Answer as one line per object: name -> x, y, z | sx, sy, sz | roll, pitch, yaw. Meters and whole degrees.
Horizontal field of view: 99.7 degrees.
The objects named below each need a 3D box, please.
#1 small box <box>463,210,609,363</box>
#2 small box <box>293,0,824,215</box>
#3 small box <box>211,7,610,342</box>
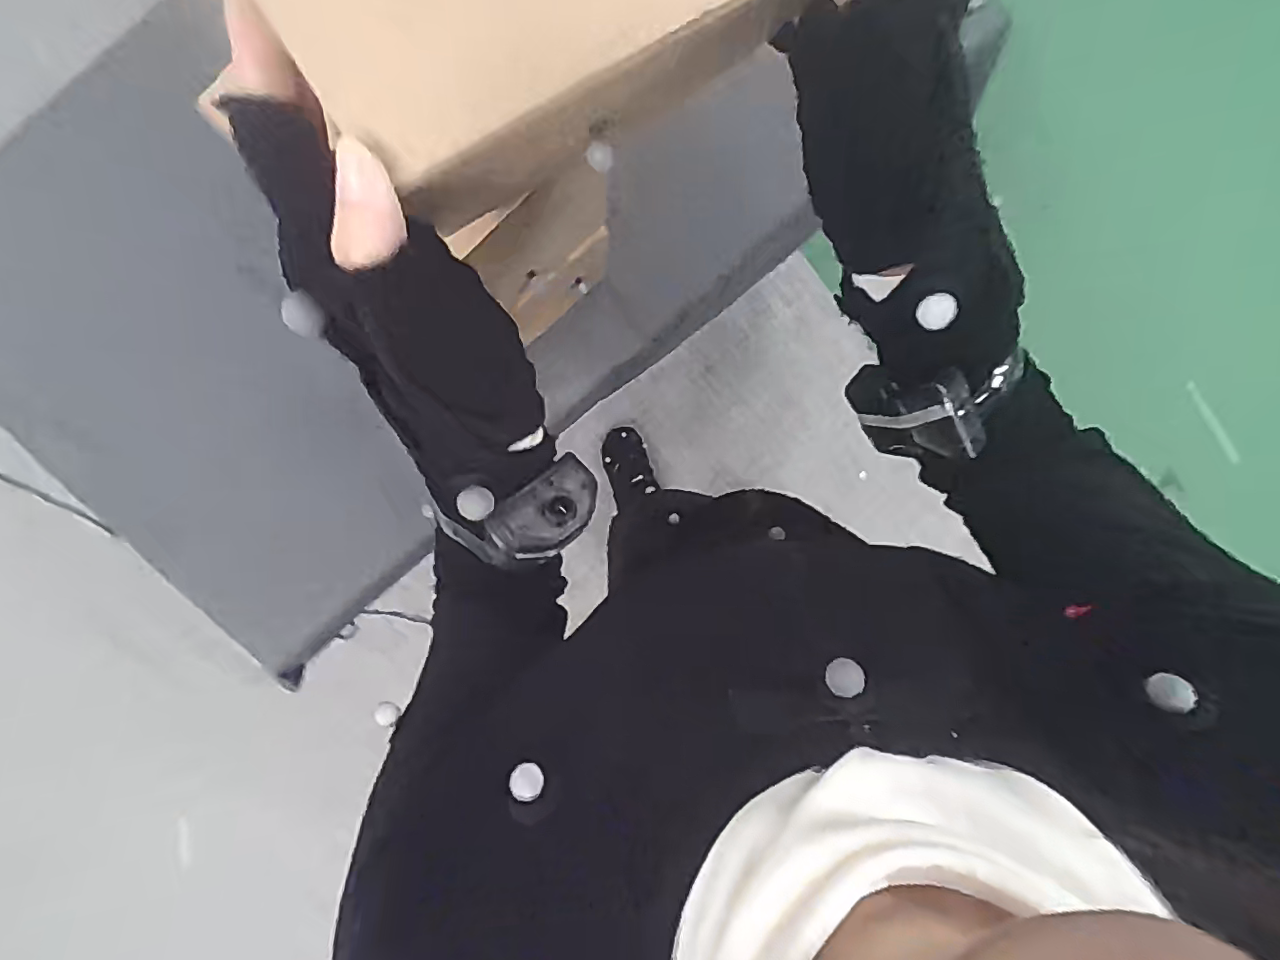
small box -> -0.151, -0.244, 0.566 | 0.179, 0.176, 0.168 | -42, 97, 2
small box -> -0.043, -0.216, 0.191 | 0.179, 0.176, 0.168 | -29, 115, -1
small box -> -0.142, -0.229, 0.403 | 0.179, 0.176, 0.168 | -43, 97, 0
